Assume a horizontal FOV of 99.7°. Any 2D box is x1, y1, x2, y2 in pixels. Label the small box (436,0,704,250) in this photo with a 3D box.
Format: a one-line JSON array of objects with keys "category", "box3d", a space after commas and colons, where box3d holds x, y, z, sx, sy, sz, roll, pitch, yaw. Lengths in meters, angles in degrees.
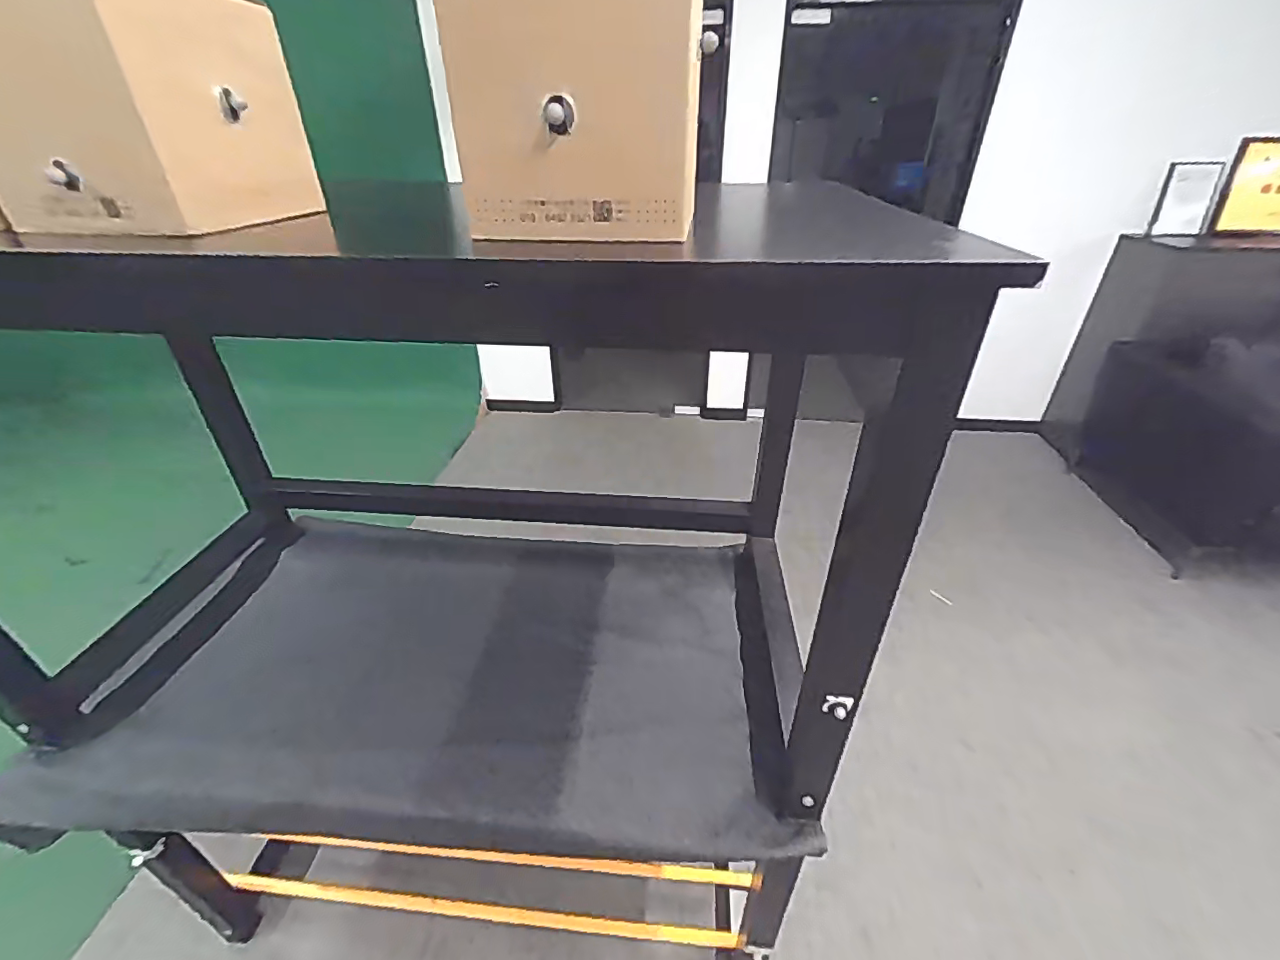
[{"category": "small box", "box3d": [-0.036, -0.288, 0.435, 0.168, 0.176, 0.179, 4, 33, 6]}]
